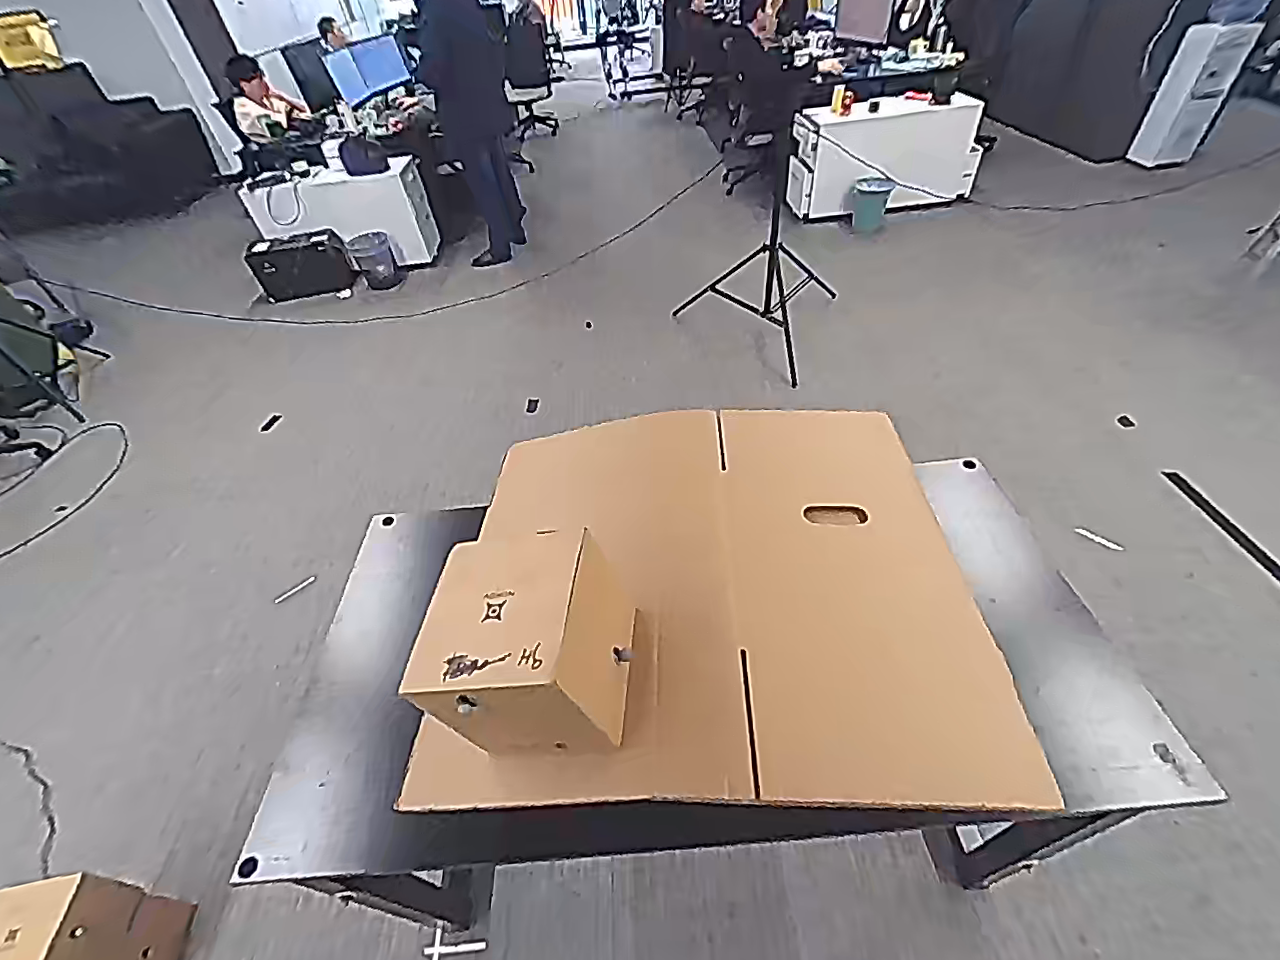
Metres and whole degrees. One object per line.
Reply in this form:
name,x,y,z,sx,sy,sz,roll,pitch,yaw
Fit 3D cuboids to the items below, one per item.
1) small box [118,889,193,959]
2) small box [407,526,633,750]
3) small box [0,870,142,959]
small box,-1.115,1.008,1.155,0.168,0.176,0.179,-9,45,-2
small box,-0.113,0.178,0.601,0.168,0.176,0.179,-10,43,17
small box,-1.132,0.889,1.044,0.168,0.176,0.179,-10,44,-5
